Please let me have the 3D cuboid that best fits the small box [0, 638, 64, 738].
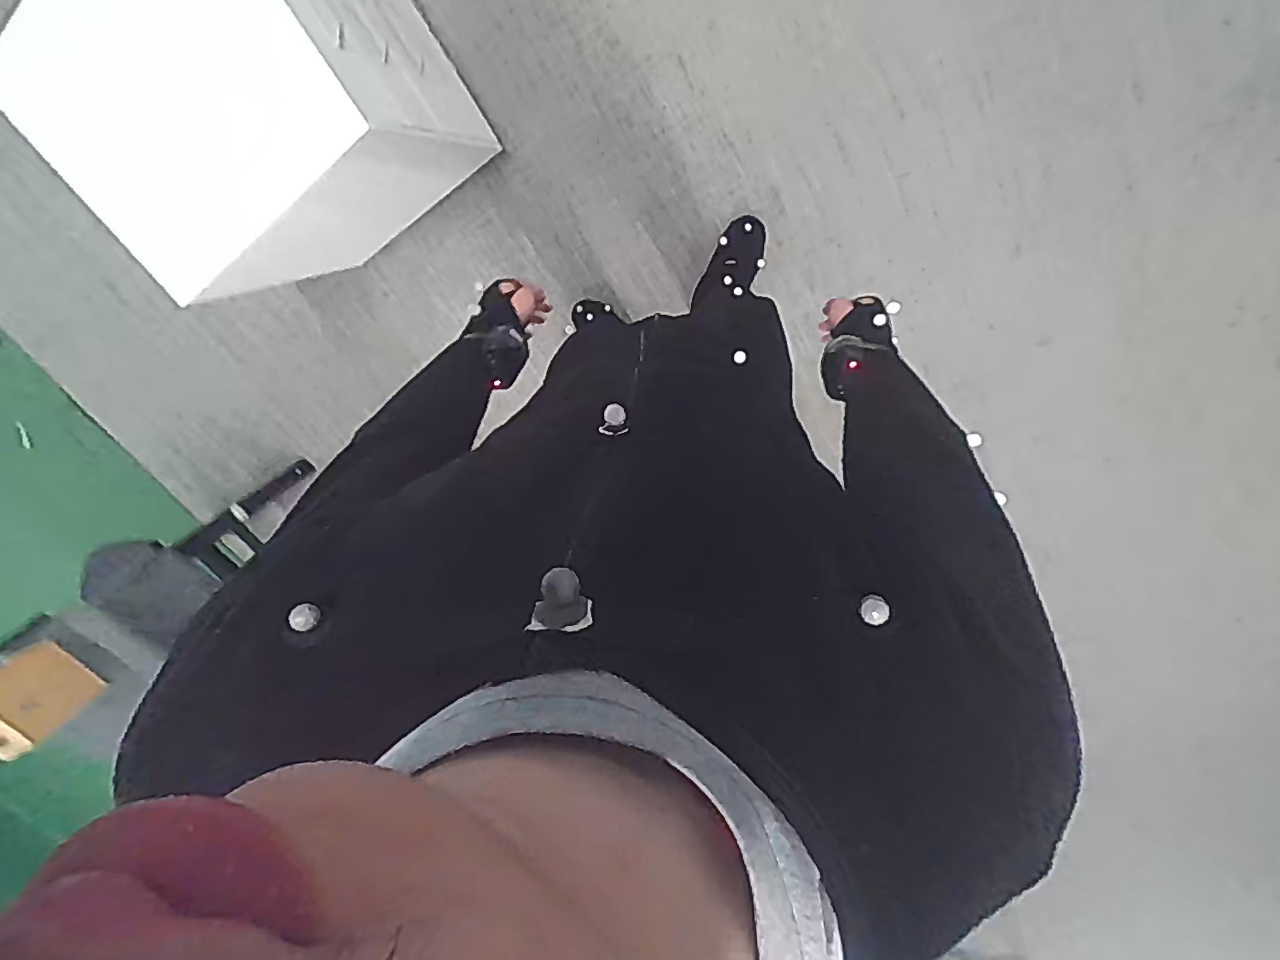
[{"bbox_3d":[-1.462,0.481,1.196,0.168,0.176,0.179,-24,113,19],"label":"small box"}]
